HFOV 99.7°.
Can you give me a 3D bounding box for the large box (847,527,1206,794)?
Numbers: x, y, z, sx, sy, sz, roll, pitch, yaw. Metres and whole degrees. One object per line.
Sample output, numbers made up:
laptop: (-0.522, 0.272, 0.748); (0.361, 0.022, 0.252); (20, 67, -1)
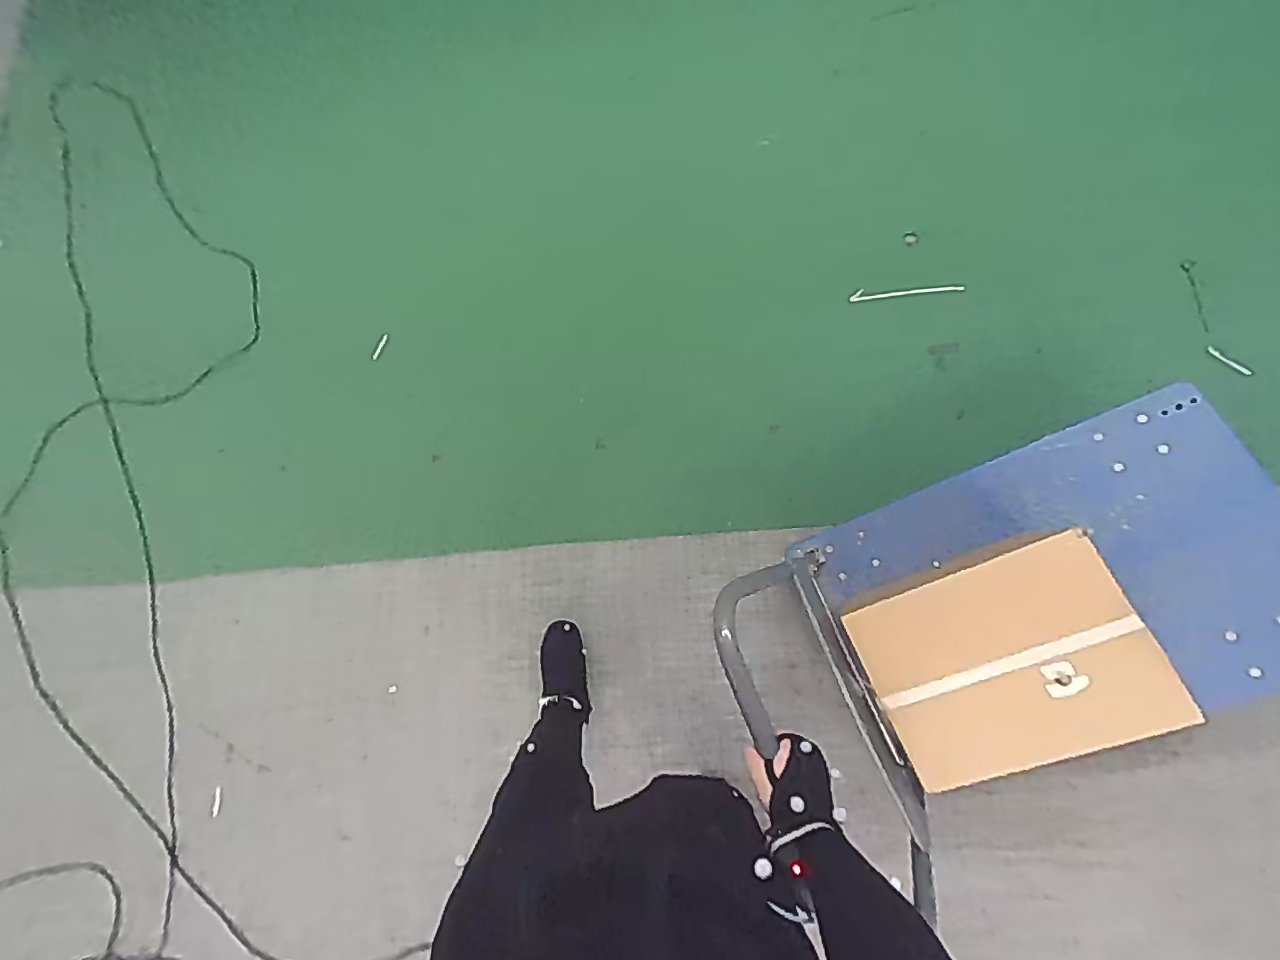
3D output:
large box: (0.648, 0.317, 1.009); (0.408, 0.320, 0.320); (-27, 74, 17)
